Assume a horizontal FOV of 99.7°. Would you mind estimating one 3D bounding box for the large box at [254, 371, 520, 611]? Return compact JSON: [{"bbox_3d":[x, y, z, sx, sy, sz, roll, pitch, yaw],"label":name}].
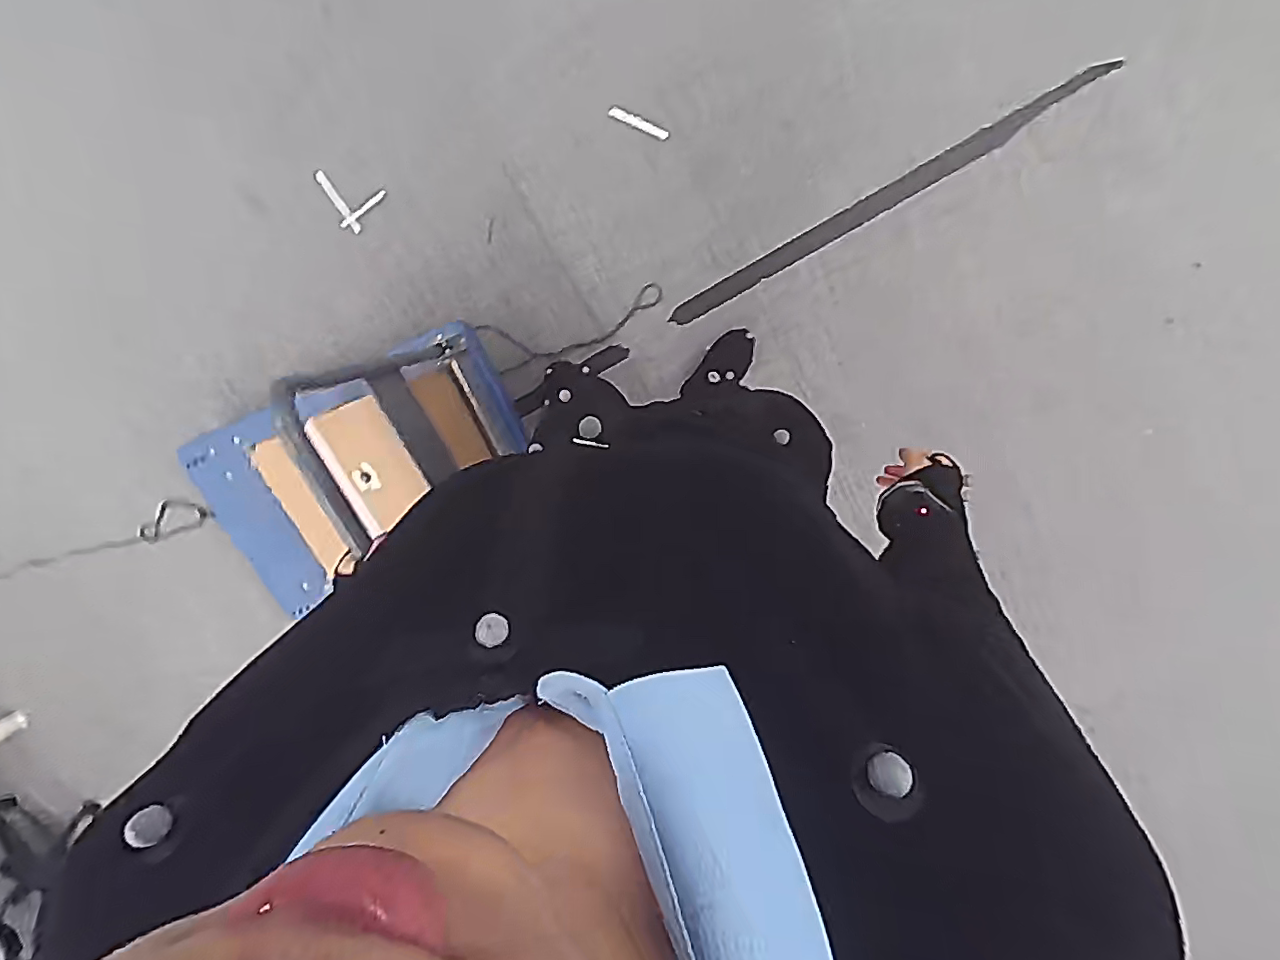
[{"bbox_3d":[-0.531,0.012,1.224,0.320,0.320,0.408,-21,106,10],"label":"large box"}]
